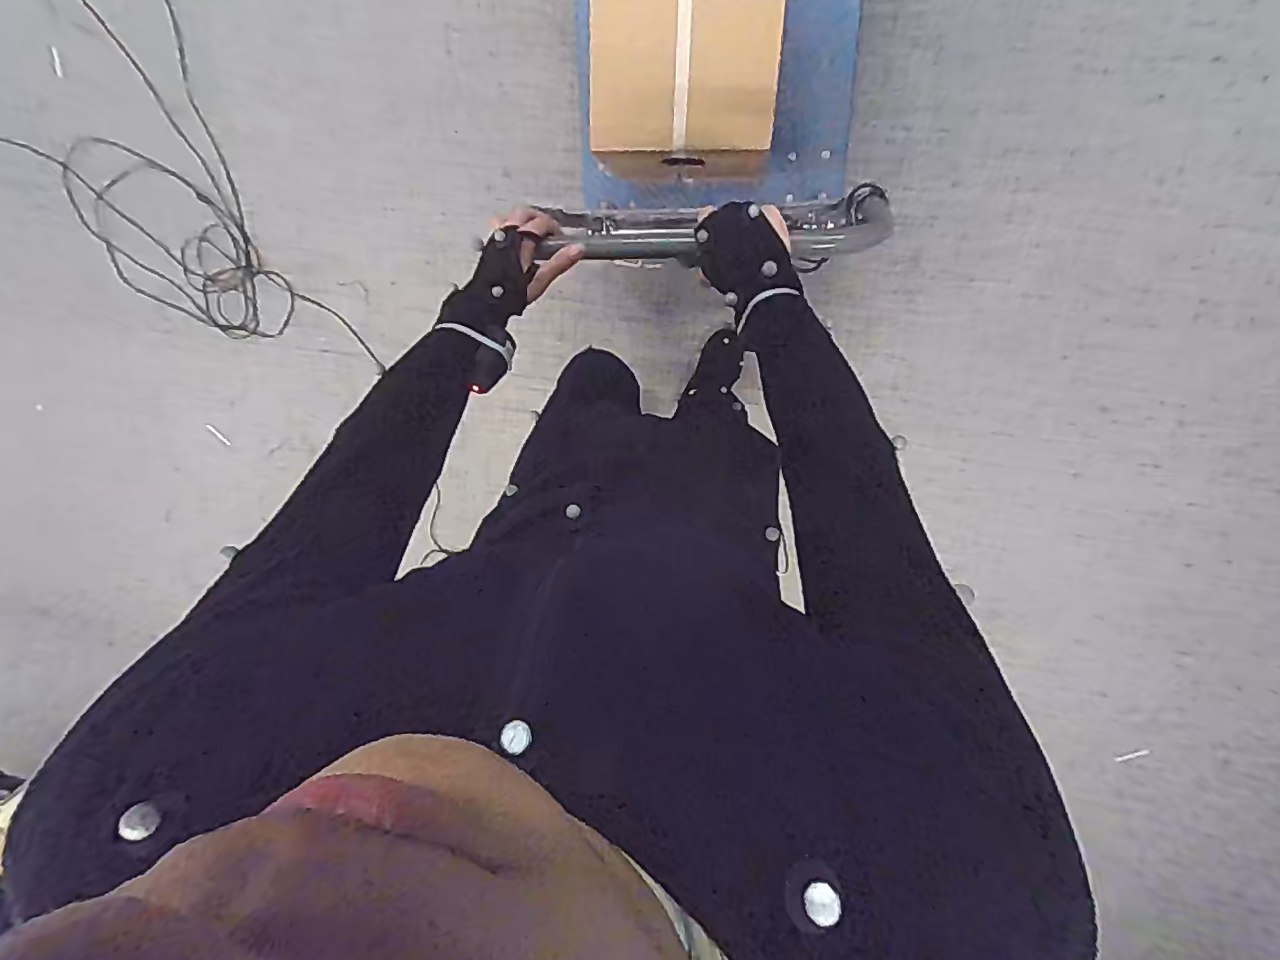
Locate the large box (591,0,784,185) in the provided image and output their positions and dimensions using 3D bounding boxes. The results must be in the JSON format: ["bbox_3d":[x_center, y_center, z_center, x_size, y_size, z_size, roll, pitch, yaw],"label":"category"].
[{"bbox_3d":[0.099,-0.799,1.002,0.320,0.320,0.408,5,110,9],"label":"large box"}]
